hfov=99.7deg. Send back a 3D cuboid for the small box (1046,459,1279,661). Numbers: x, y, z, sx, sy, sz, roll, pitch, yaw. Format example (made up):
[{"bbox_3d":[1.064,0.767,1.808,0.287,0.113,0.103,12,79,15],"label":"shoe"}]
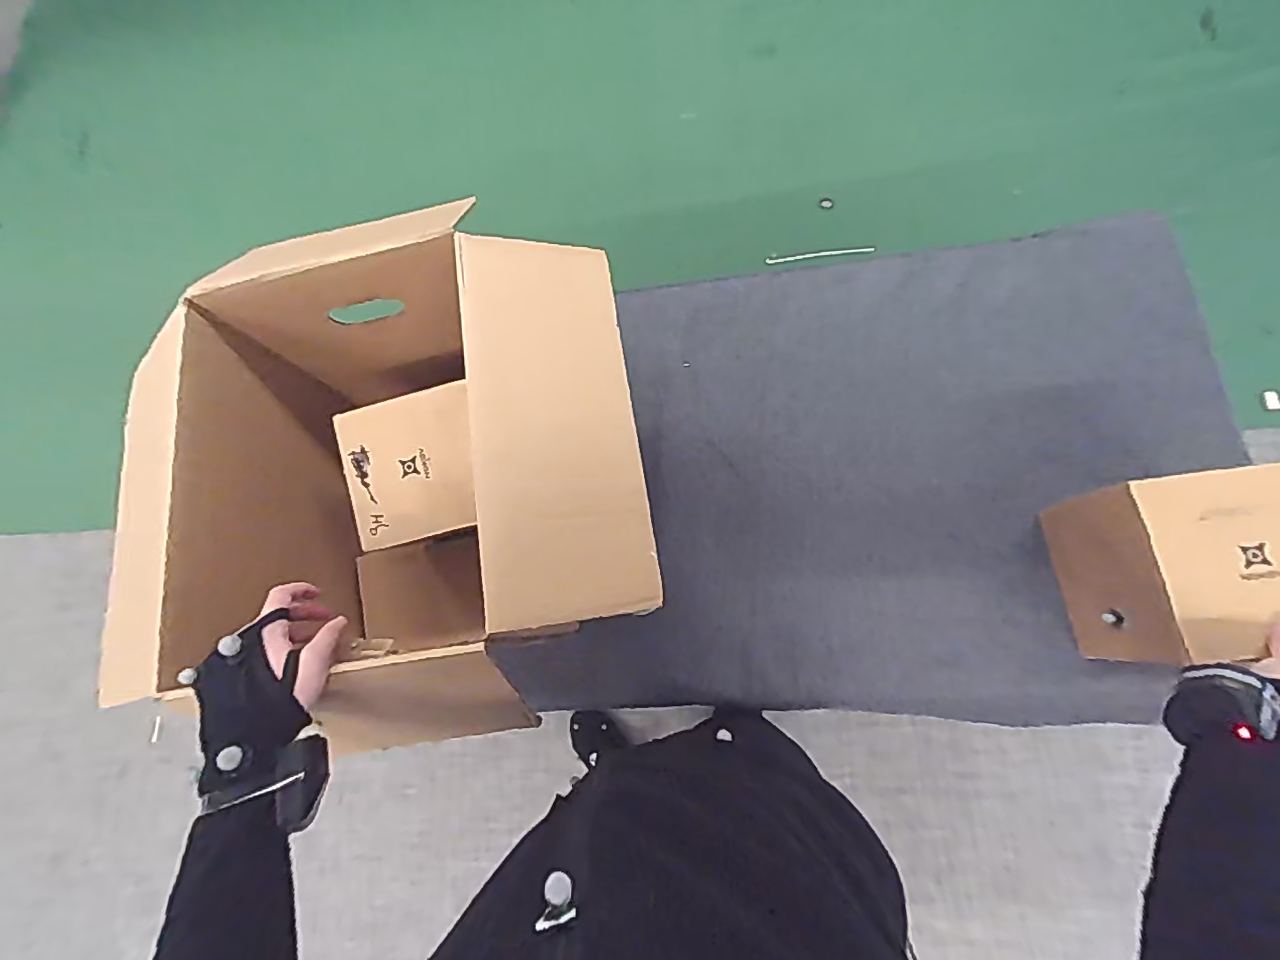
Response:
[{"bbox_3d":[0.583,0.089,0.575,0.168,0.176,0.179,-8,74,7],"label":"small box"}]
